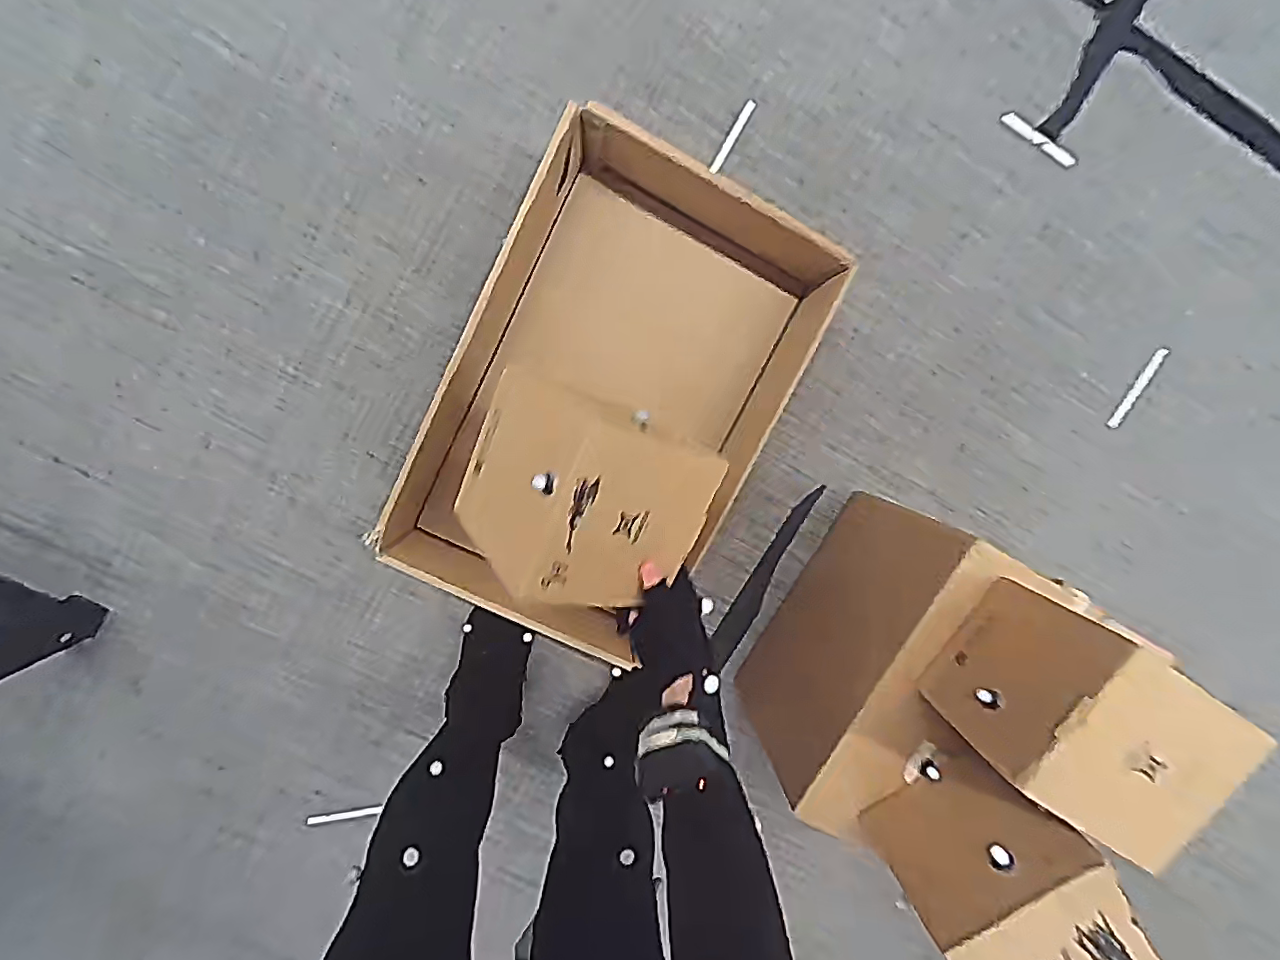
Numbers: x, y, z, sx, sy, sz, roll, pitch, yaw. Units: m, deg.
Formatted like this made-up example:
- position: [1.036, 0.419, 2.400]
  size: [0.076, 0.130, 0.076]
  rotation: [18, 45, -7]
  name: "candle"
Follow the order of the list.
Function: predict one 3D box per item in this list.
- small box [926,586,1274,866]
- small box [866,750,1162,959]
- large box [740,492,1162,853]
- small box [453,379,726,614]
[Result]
- position: [0.443, 0.231, 0.556]
  size: [0.179, 0.176, 0.168]
  rotation: [32, 98, -8]
  name: "small box"
- position: [0.385, 0.437, 0.583]
  size: [0.179, 0.176, 0.168]
  rotation: [-32, 100, 2]
  name: "small box"
- position: [0.406, 0.281, 0.808]
  size: [0.320, 0.320, 0.408]
  rotation: [29, 97, -7]
  name: "large box"
- position: [-0.055, 0.015, 0.533]
  size: [0.179, 0.176, 0.168]
  rotation: [12, 106, -42]
  name: "small box"
